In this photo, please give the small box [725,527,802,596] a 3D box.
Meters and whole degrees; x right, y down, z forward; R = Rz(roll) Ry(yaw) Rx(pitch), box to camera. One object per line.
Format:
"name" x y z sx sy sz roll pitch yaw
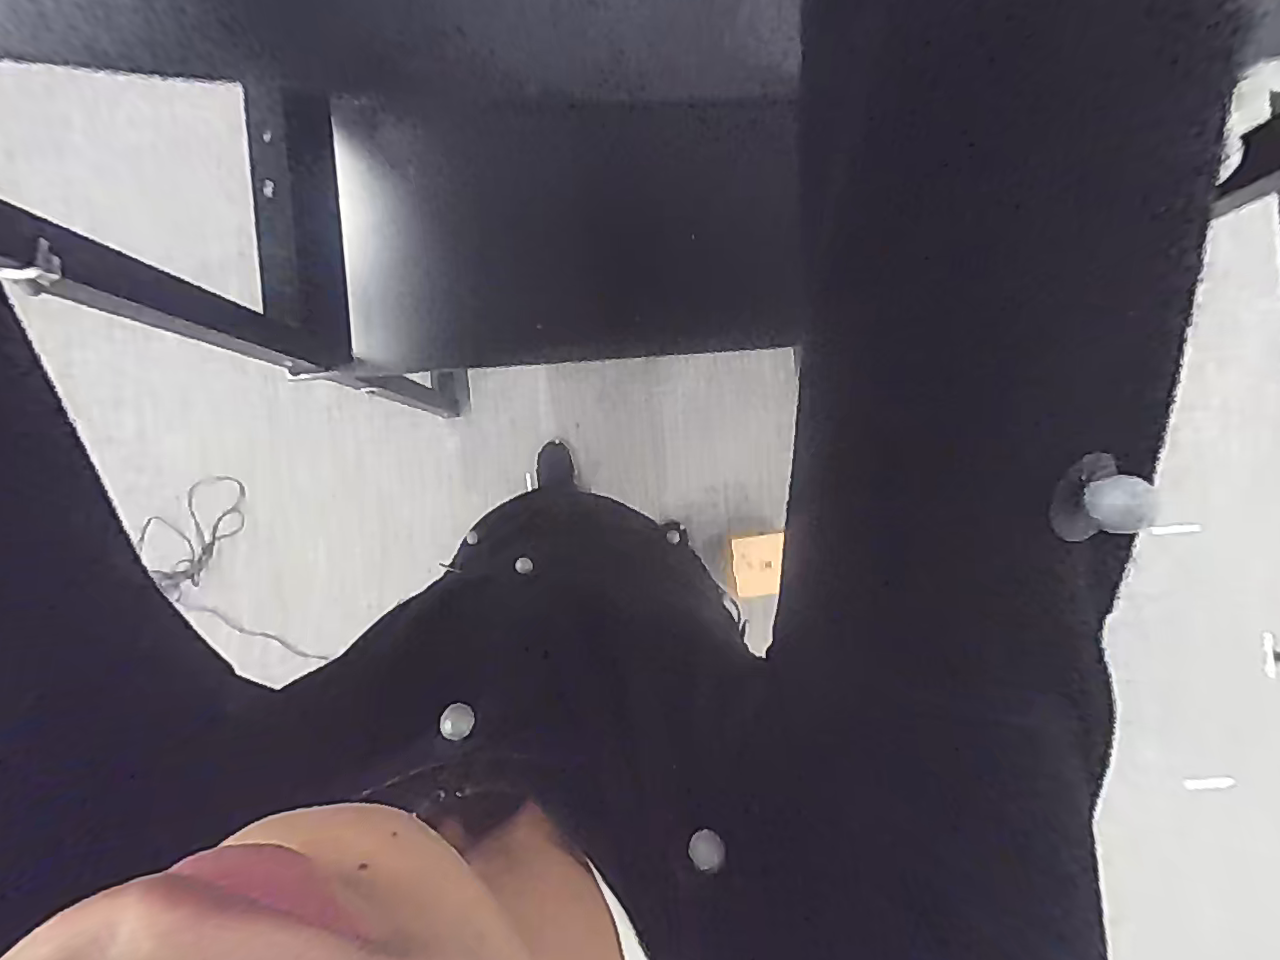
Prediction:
"small box" 0.354 0.230 1.570 0.179 0.176 0.168 -6 90 0
